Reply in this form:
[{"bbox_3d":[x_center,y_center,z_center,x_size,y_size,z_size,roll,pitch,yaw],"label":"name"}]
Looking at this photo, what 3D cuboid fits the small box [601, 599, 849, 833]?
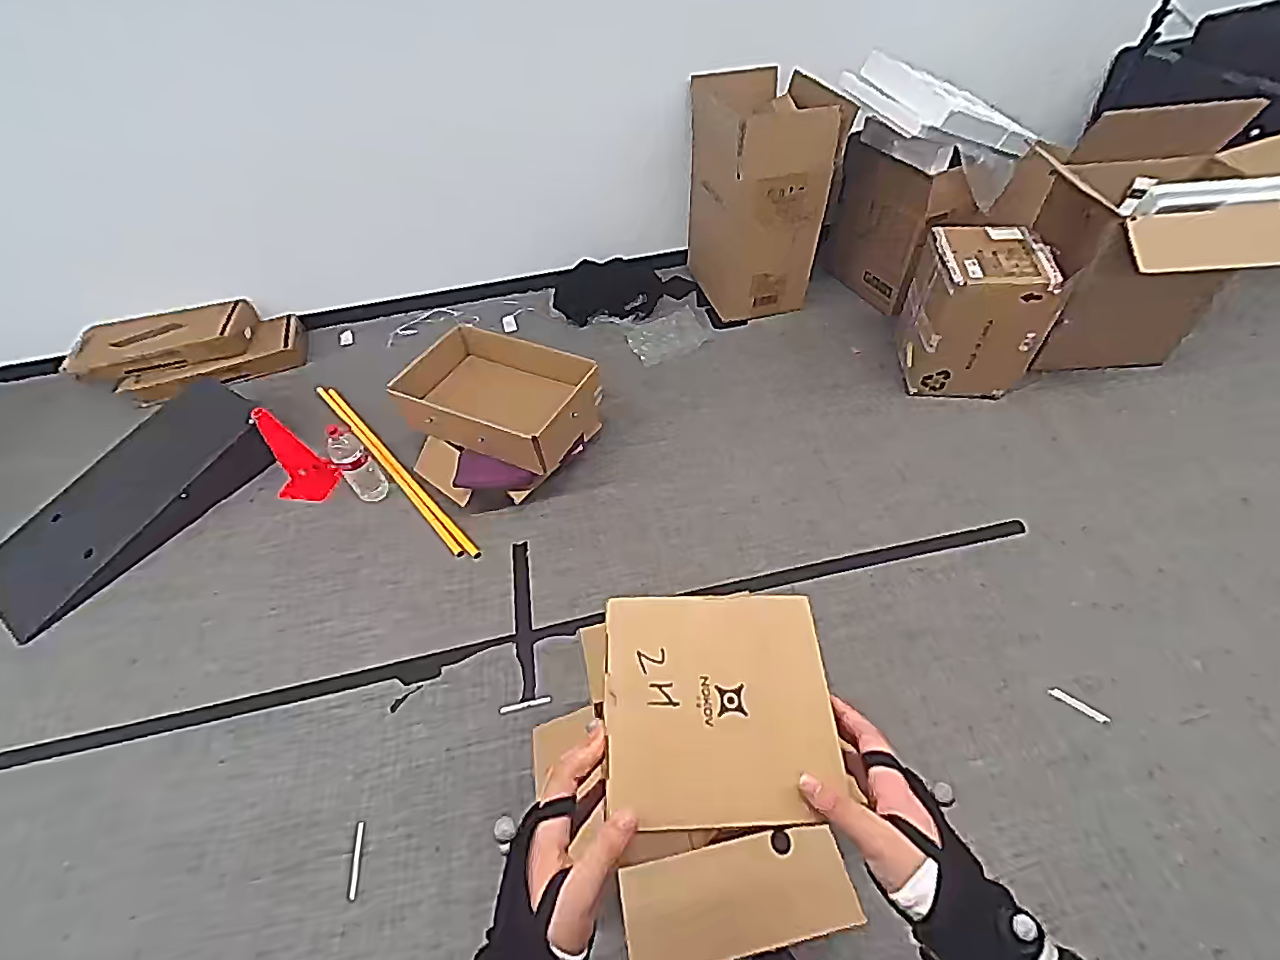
[{"bbox_3d":[0.054,0.213,0.482,0.179,0.176,0.168,0,57,-4],"label":"small box"}]
